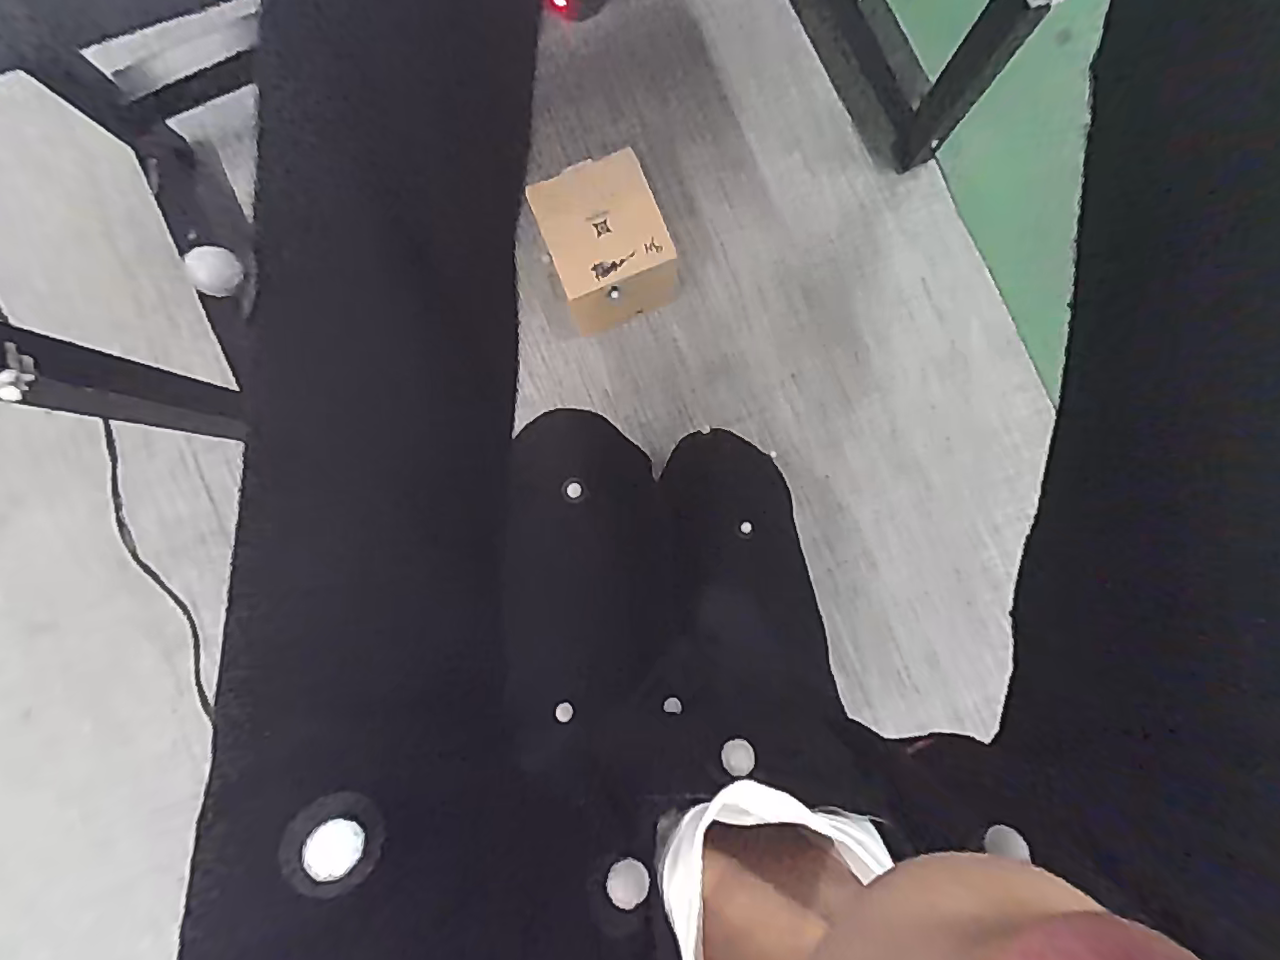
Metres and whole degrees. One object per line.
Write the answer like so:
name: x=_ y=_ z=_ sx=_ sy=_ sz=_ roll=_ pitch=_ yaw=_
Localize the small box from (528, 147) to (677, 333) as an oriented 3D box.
small box: x=-0.052 y=-0.358 z=0.836 sx=0.168 sy=0.176 sz=0.179 roll=-22 pitch=85 yaw=0
